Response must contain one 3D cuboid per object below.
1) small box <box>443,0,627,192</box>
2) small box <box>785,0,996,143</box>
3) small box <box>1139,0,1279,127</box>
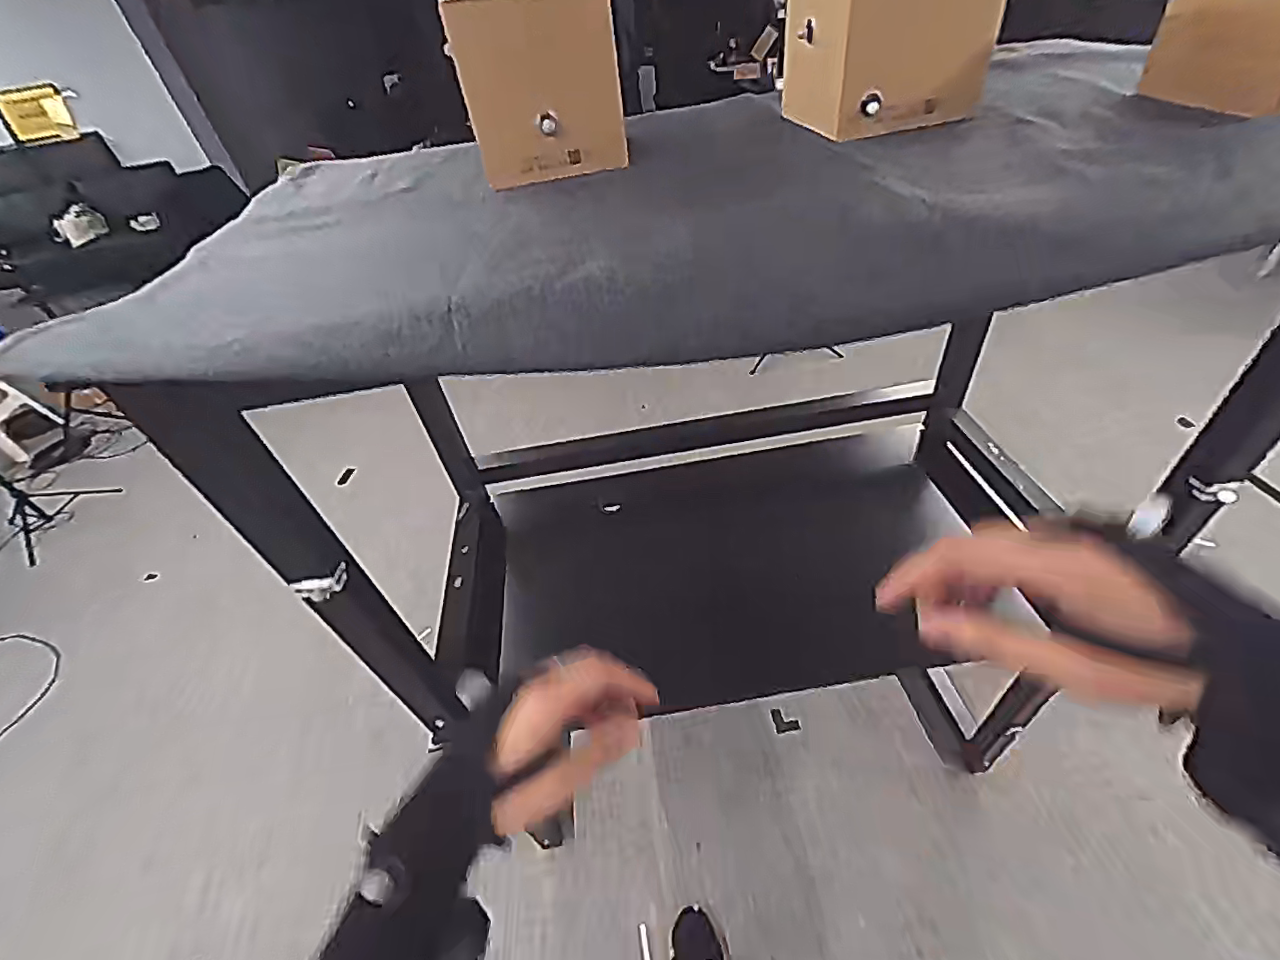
[{"bbox_3d":[-0.115,-0.459,0.637,0.168,0.176,0.179,-12,43,-3],"label":"small box"},{"bbox_3d":[0.274,-0.499,0.614,0.168,0.176,0.179,-12,42,-3],"label":"small box"},{"bbox_3d":[0.616,-0.431,0.480,0.168,0.176,0.179,-7,43,3],"label":"small box"}]
